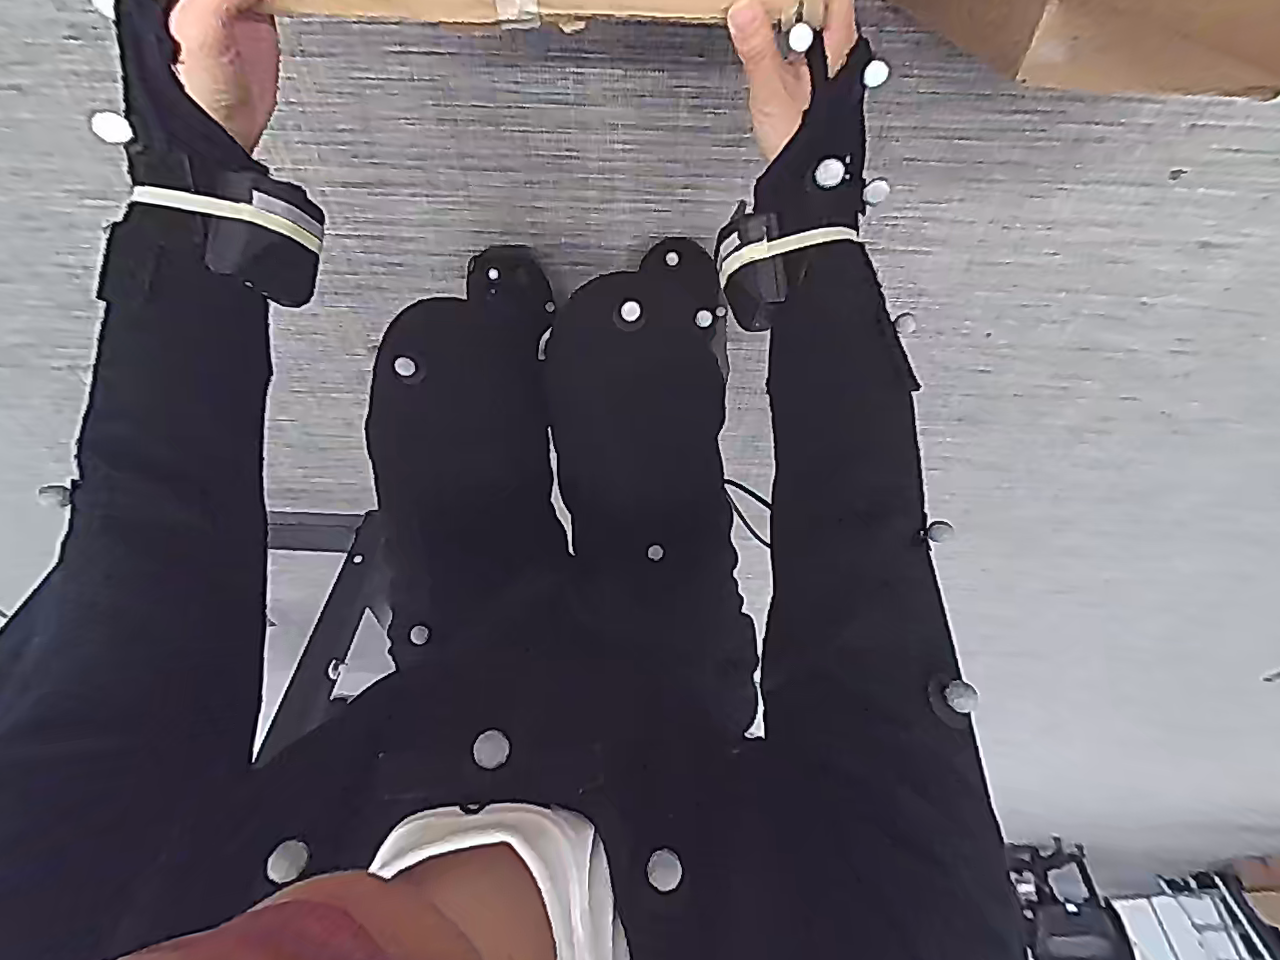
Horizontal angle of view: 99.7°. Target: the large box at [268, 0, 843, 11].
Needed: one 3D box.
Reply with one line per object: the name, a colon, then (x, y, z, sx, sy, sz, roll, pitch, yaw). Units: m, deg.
large box: (-0.045, -0.488, 0.226, 0.320, 0.320, 0.408, 2, 139, 1)
